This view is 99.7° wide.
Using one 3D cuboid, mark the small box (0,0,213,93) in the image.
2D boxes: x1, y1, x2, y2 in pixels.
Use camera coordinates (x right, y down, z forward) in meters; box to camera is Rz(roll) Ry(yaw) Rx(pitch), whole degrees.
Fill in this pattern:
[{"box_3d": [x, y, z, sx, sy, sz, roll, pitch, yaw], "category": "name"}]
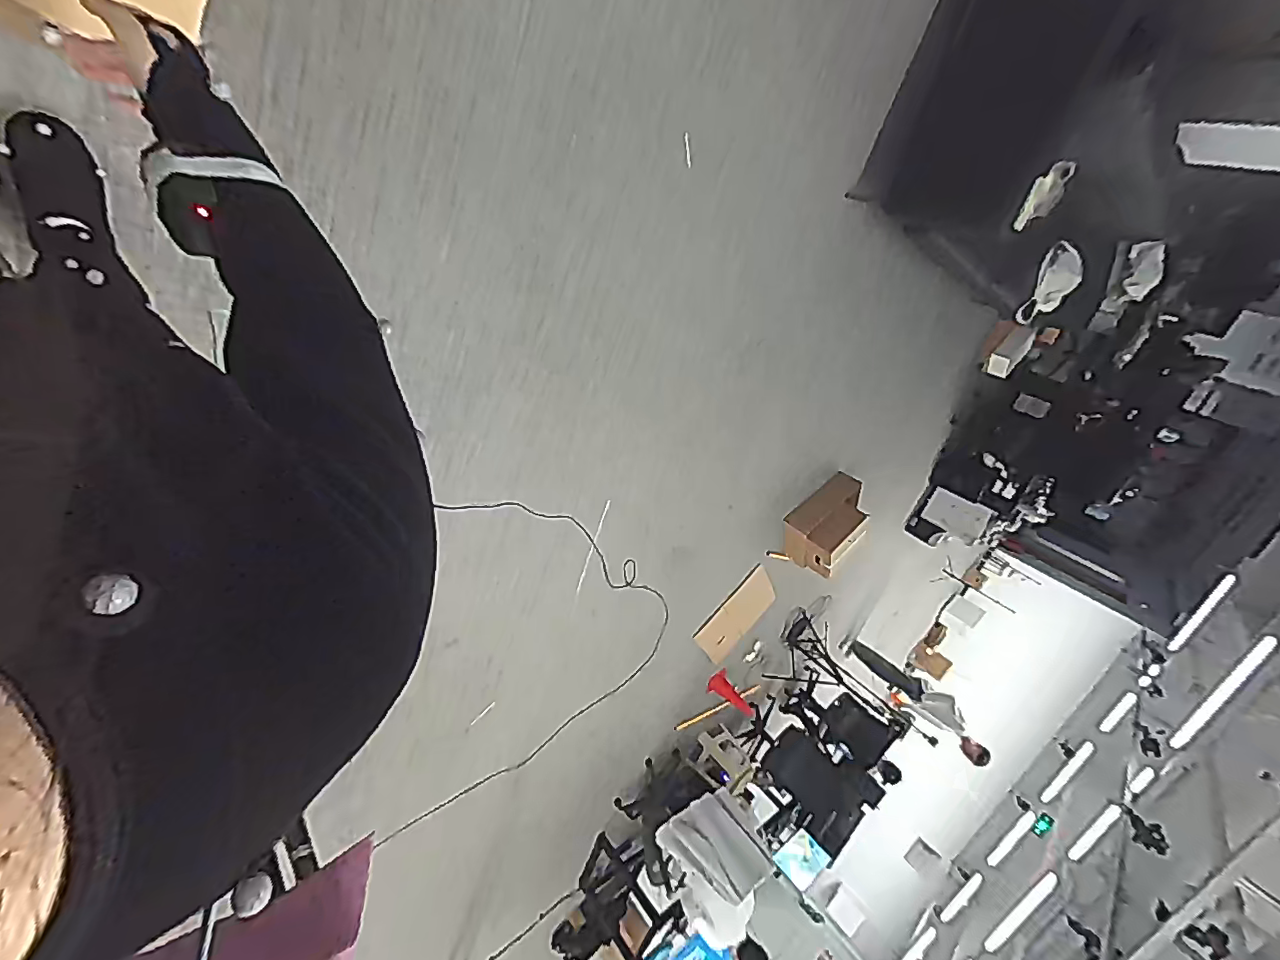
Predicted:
[{"box_3d": [-0.538, -0.517, 0.522, 0.179, 0.176, 0.168, 9, 111, -50], "category": "small box"}]
